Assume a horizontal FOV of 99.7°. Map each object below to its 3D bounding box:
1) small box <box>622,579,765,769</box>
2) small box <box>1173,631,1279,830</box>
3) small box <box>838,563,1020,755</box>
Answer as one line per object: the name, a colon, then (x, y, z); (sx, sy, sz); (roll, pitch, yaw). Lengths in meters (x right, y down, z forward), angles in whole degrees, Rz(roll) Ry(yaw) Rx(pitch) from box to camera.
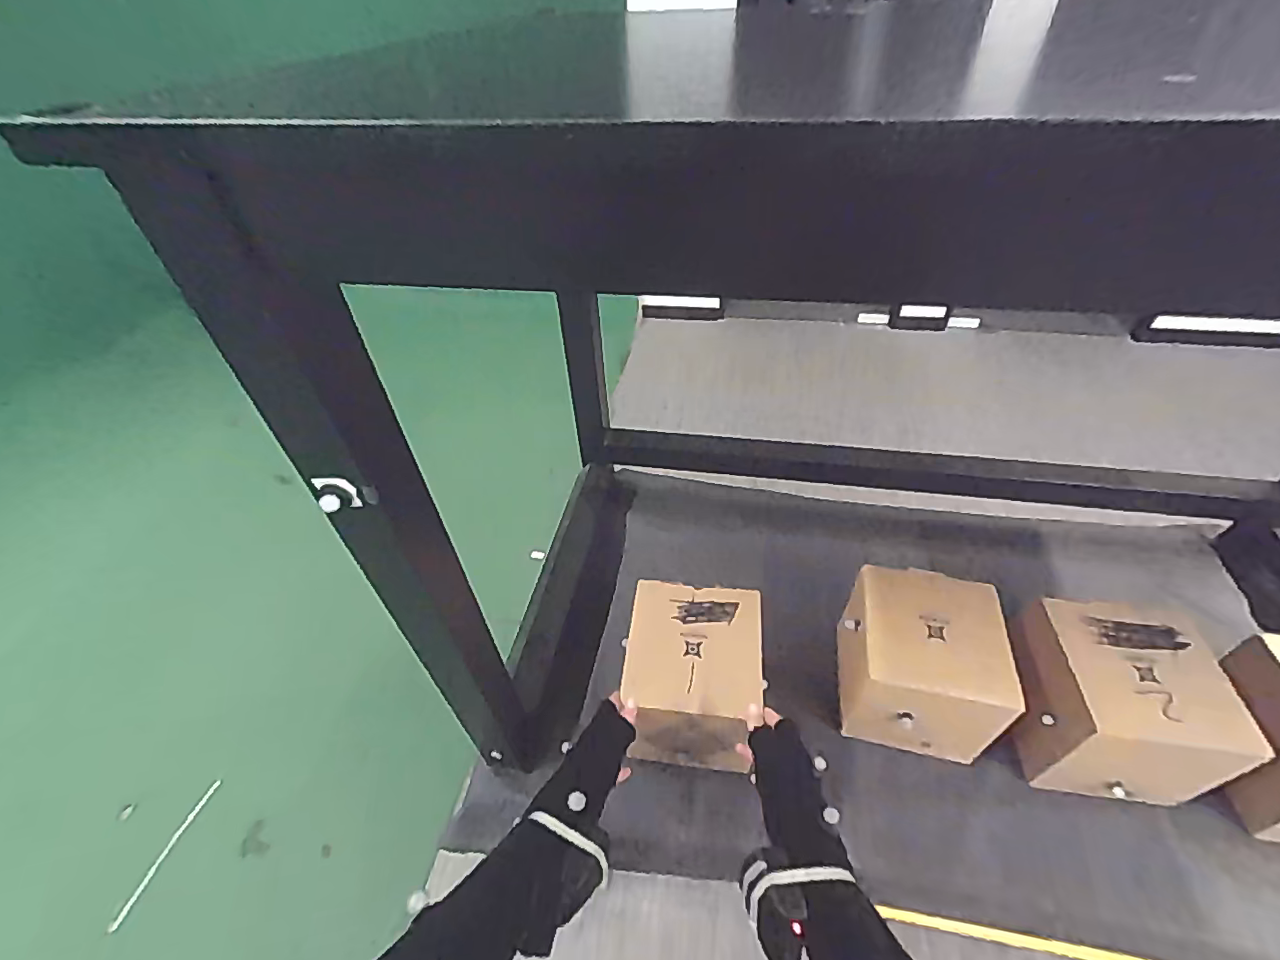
small box: (0.073, 0.258, 0.725); (0.168, 0.176, 0.179); (4, 45, 7)
small box: (0.803, 0.304, 0.631); (0.168, 0.176, 0.179); (4, 43, 8)
small box: (0.370, 0.242, 0.730); (0.168, 0.176, 0.179); (8, 44, 12)
